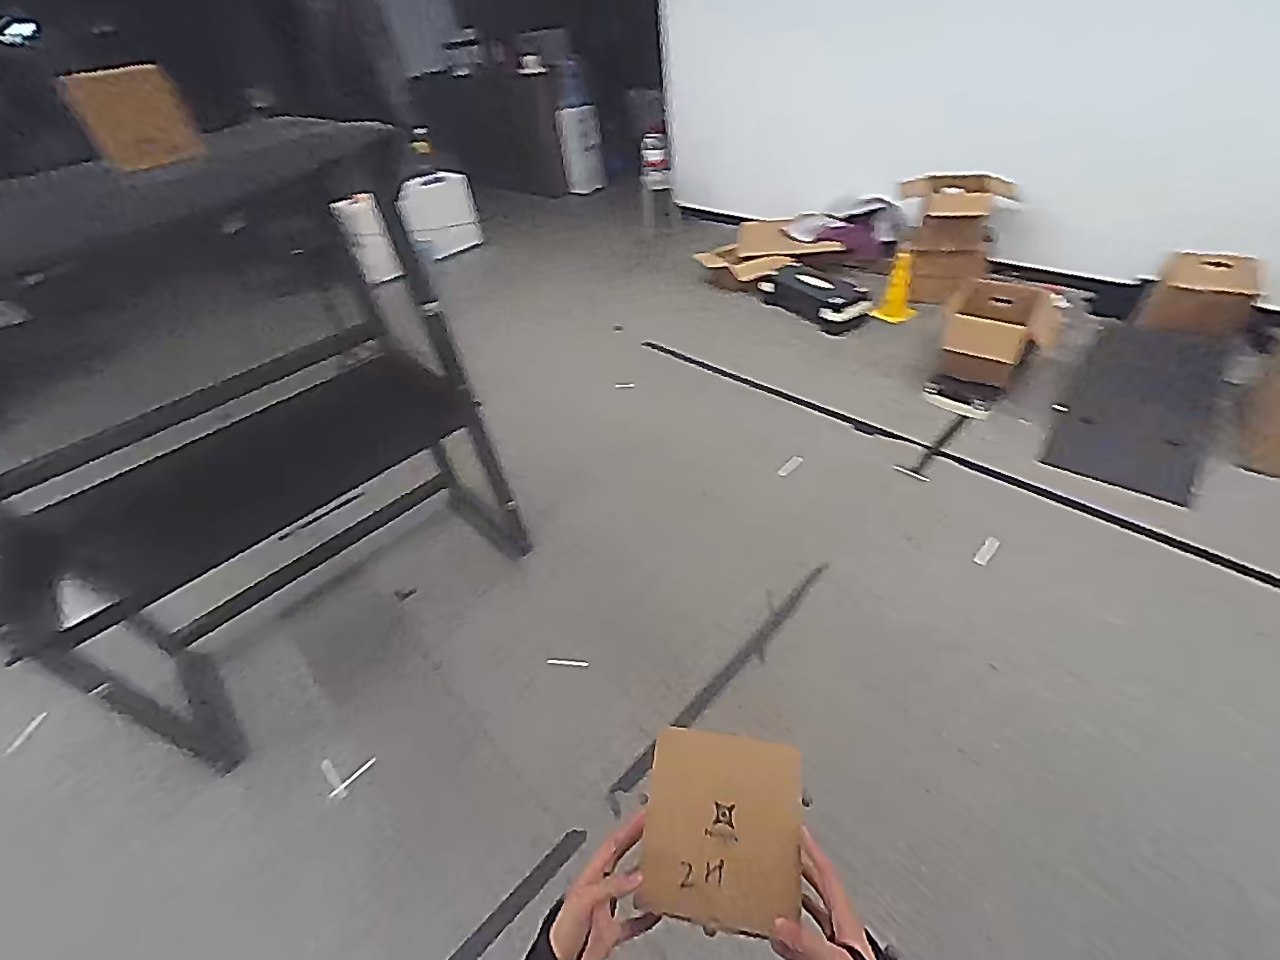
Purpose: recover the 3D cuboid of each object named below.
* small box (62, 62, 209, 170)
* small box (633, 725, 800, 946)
[{"bbox_3d":[-1.097,-0.795,1.183,0.168,0.176,0.179,-37,50,-27],"label":"small box"},{"bbox_3d":[0.091,0.411,0.640,0.168,0.176,0.179,5,57,9],"label":"small box"}]
